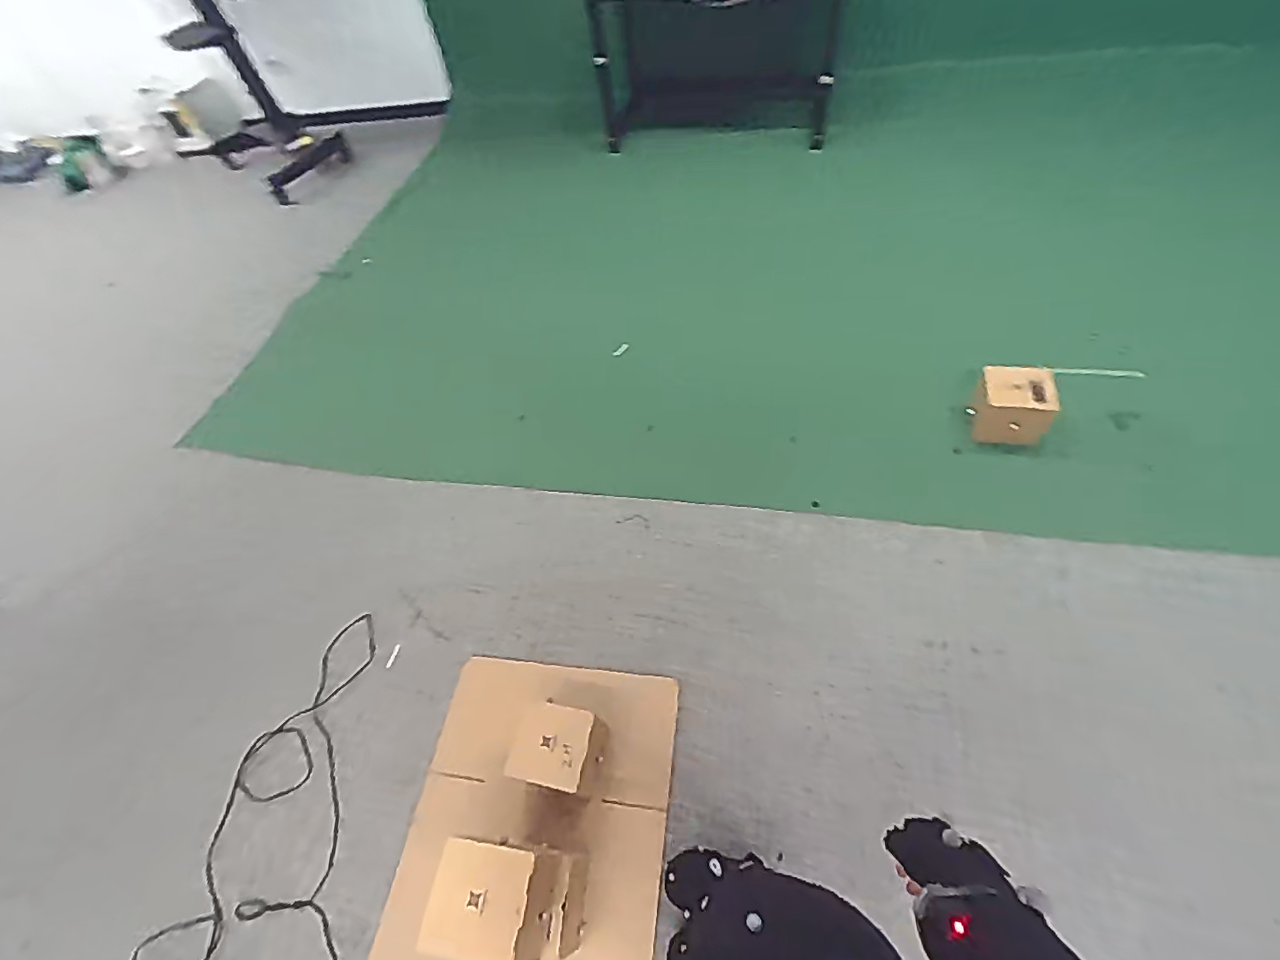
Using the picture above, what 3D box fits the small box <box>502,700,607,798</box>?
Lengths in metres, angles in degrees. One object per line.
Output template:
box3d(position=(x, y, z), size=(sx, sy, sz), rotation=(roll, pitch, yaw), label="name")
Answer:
box3d(position=(-0.192, 0.636, 1.272), size=(0.179, 0.176, 0.168), rotation=(6, 58, 13), label="small box")

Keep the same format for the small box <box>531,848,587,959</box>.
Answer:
box3d(position=(-0.216, 0.864, 1.114), size=(0.179, 0.176, 0.168), rotation=(0, 56, 10), label="small box")

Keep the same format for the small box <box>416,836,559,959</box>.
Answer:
box3d(position=(-0.266, 0.768, 0.990), size=(0.179, 0.176, 0.168), rotation=(2, 56, 12), label="small box")
